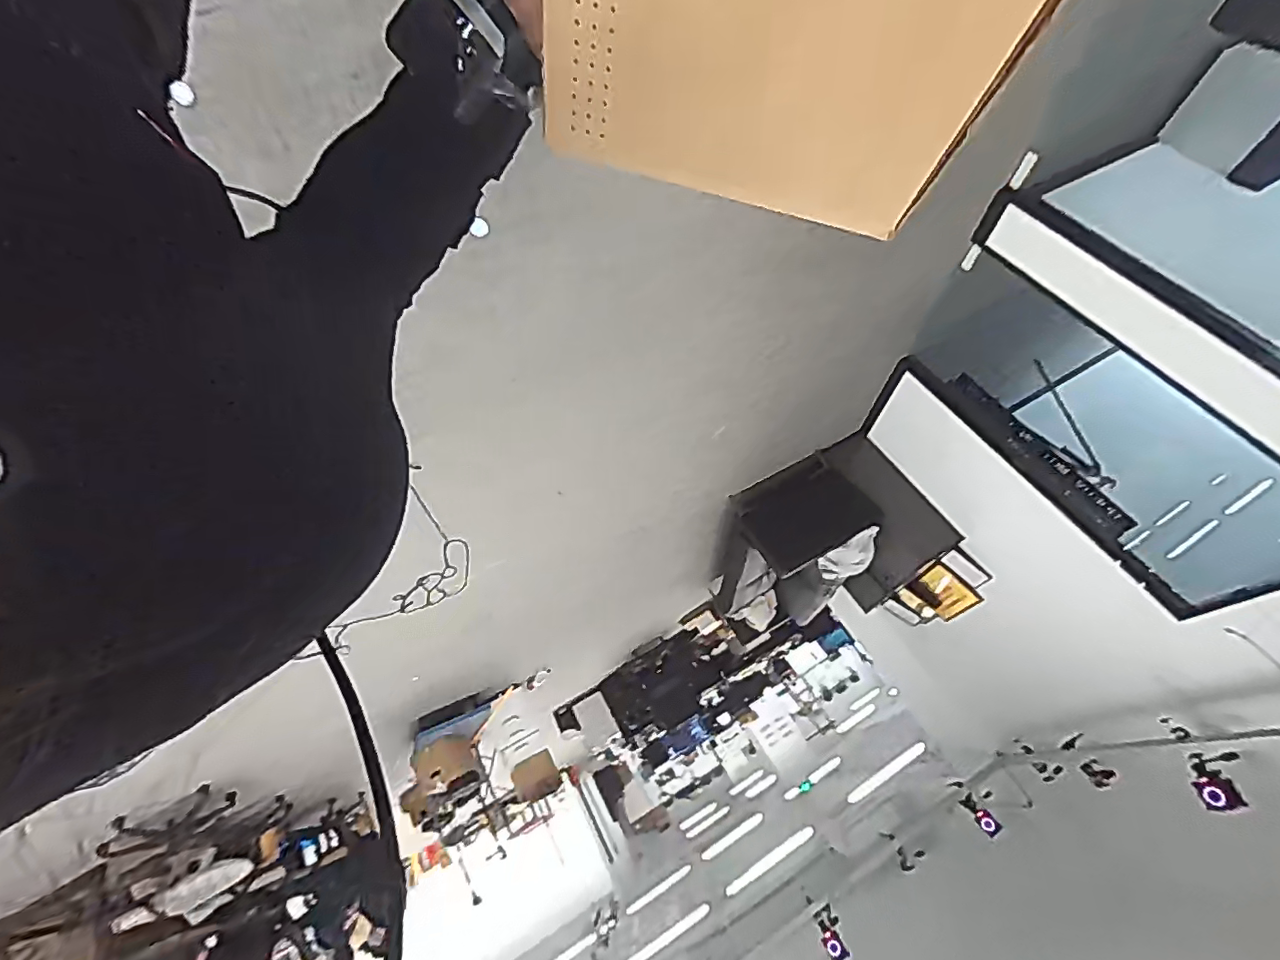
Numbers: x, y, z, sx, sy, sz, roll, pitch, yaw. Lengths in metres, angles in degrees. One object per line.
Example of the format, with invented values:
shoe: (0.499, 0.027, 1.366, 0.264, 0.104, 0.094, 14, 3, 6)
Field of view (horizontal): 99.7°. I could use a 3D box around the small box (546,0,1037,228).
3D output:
small box: (0.061, -0.242, 0.217, 0.176, 0.168, 0.179, 13, 154, -1)
